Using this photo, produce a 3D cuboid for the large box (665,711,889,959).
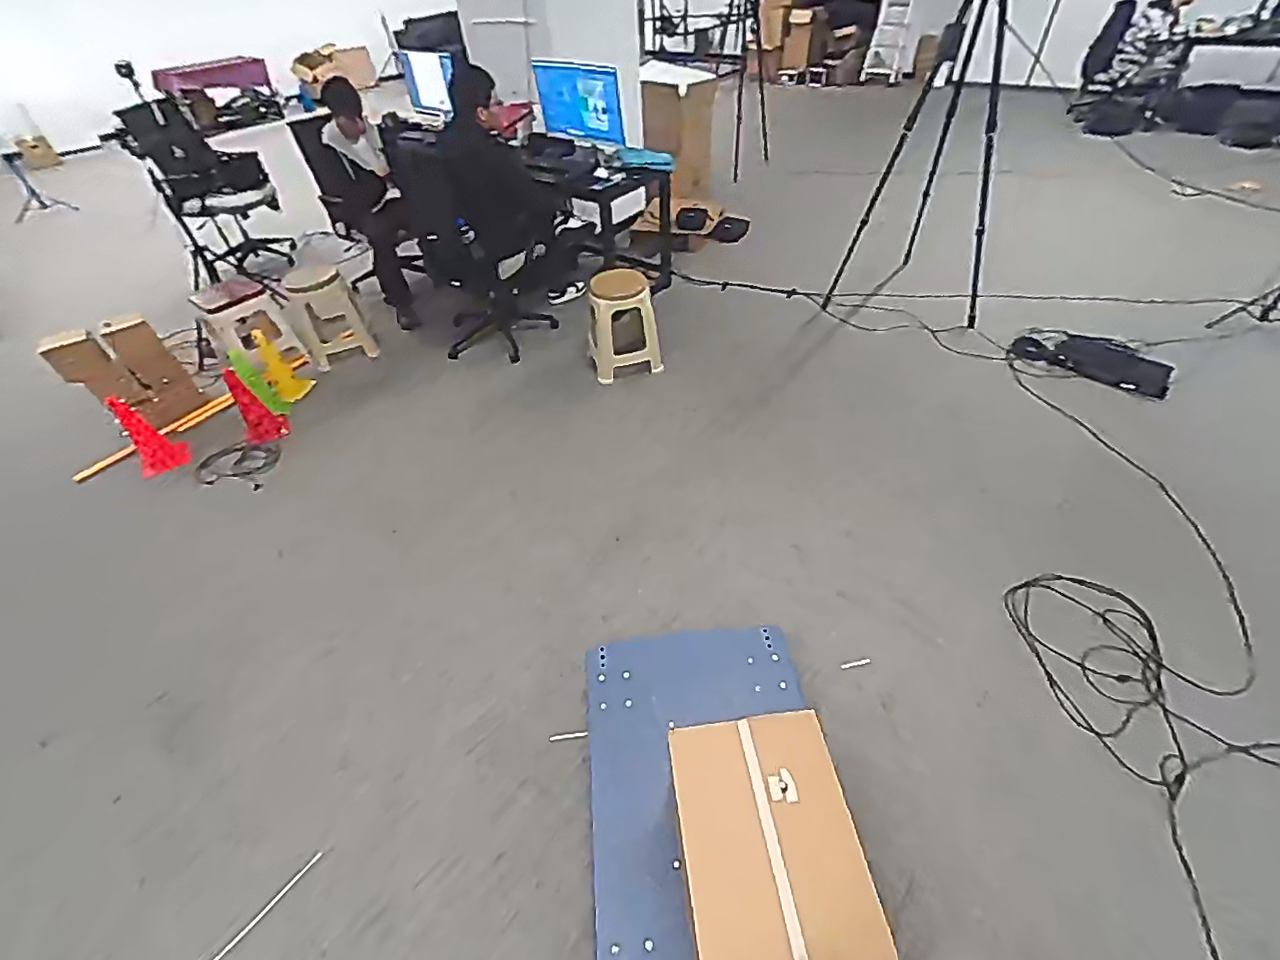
[{"bbox_3d":[0.237,0.752,1.102,0.320,0.320,0.408,-7,44,-3],"label":"large box"}]
